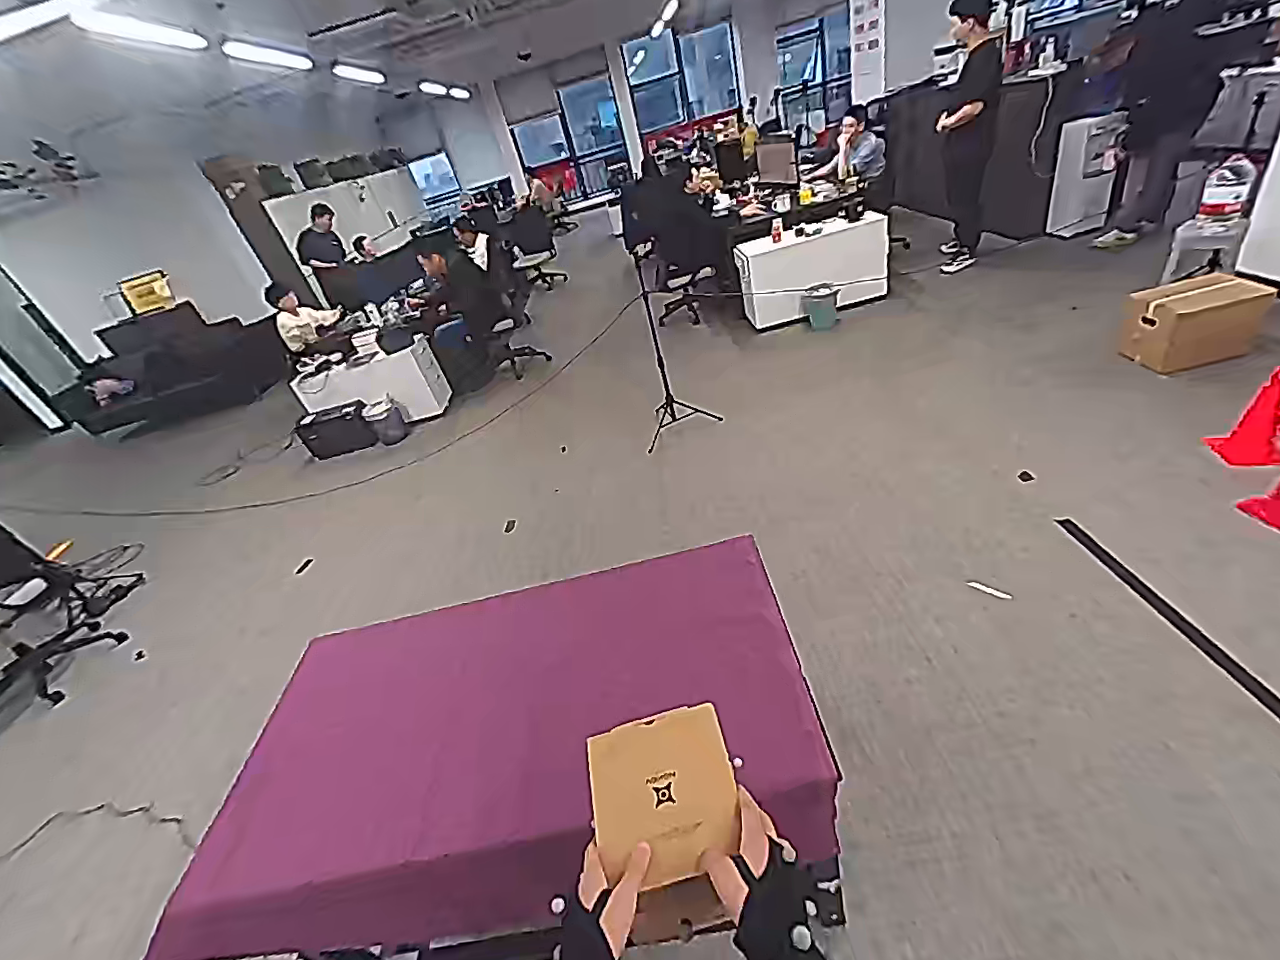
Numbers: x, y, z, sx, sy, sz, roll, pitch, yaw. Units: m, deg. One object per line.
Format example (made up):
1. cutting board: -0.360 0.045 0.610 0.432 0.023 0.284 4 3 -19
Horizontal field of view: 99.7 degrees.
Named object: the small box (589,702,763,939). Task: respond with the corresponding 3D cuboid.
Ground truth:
1. small box: 0.041 0.412 0.660 0.168 0.176 0.179 -16 36 0
